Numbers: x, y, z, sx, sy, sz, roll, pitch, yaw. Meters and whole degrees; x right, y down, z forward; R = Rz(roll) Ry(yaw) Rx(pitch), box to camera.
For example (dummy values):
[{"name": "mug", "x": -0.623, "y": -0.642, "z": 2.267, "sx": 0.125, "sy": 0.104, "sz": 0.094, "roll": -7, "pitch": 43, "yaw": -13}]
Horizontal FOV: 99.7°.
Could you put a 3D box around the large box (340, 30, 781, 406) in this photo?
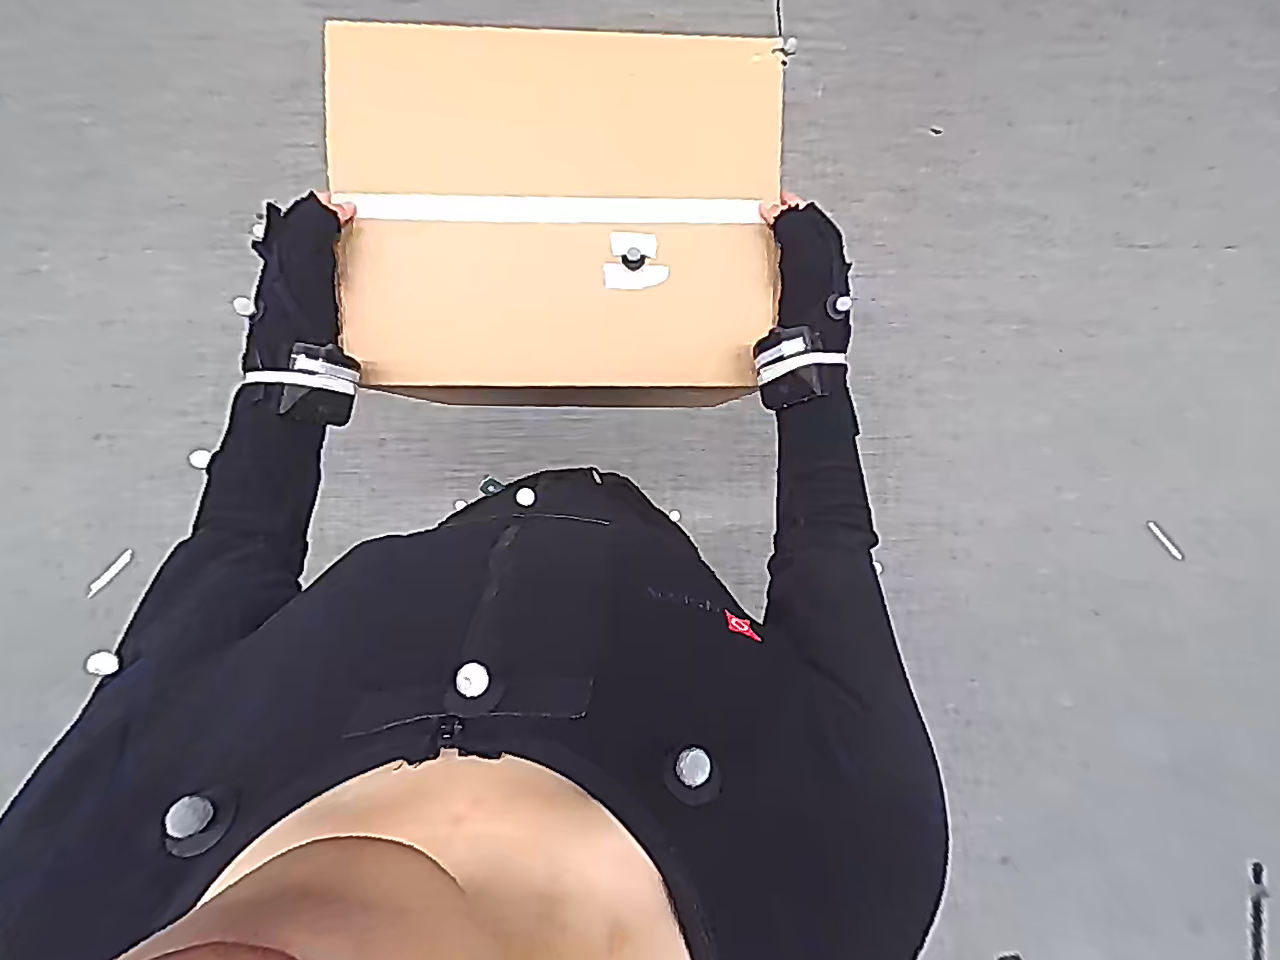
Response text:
[{"name": "large box", "x": -0.076, "y": -0.258, "z": 0.645, "sx": 0.408, "sy": 0.320, "sz": 0.320, "roll": 0, "pitch": 94, "yaw": -3}]
